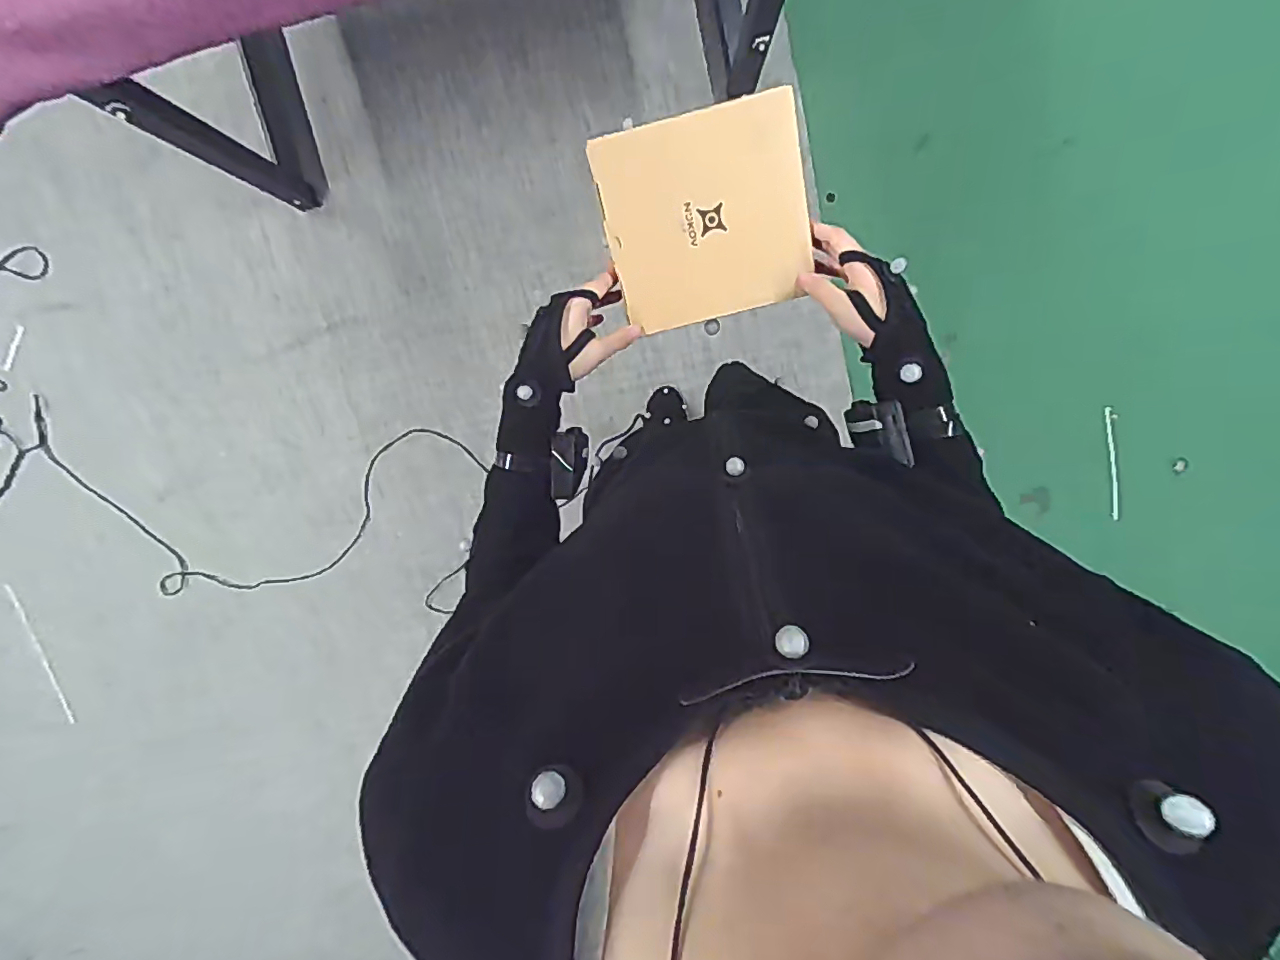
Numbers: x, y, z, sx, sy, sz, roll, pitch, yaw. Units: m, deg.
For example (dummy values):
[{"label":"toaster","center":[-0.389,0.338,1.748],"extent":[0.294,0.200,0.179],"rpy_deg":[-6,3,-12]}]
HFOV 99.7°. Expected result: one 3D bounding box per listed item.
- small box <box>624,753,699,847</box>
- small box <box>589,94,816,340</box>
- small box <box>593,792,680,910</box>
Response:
[{"label":"small box","center":[0.059,0.904,1.525],"extent":[0.179,0.176,0.168],"rpy_deg":[-18,96,8]},{"label":"small box","center":[0.060,-0.253,0.550],"extent":[0.179,0.176,0.168],"rpy_deg":[-13,109,7]},{"label":"small box","center":[-0.004,0.924,1.367],"extent":[0.168,0.176,0.179],"rpy_deg":[-20,96,8]}]
